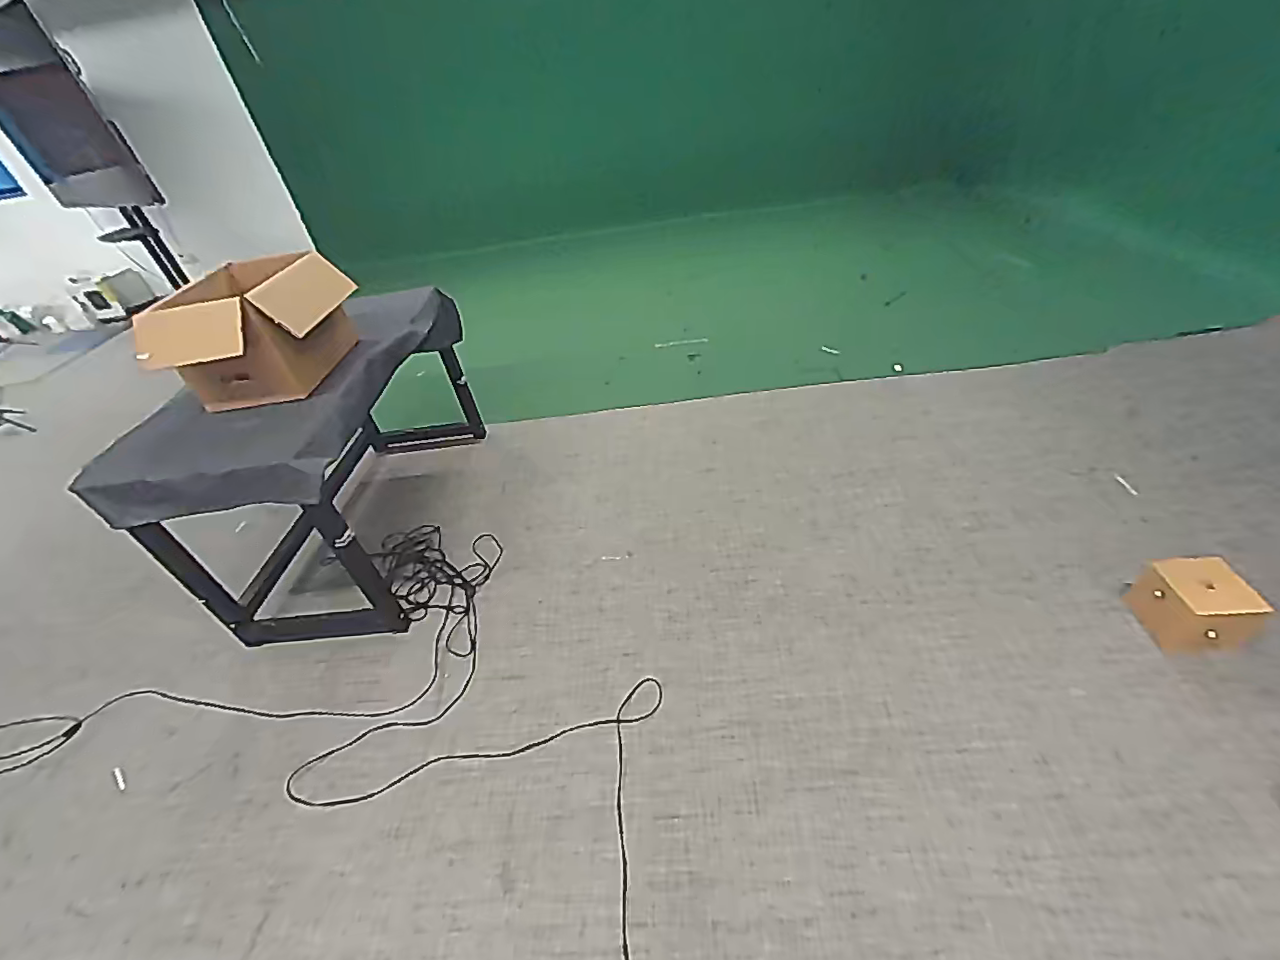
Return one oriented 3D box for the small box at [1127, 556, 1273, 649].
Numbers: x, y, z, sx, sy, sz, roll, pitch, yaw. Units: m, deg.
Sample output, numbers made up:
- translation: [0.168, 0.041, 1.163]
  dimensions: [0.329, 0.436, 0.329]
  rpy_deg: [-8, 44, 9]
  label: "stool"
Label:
- translation: [1.419, 0.320, 1.387]
  dimensions: [0.168, 0.176, 0.179]
  rpy_deg: [-5, 39, 8]
  label: "small box"
